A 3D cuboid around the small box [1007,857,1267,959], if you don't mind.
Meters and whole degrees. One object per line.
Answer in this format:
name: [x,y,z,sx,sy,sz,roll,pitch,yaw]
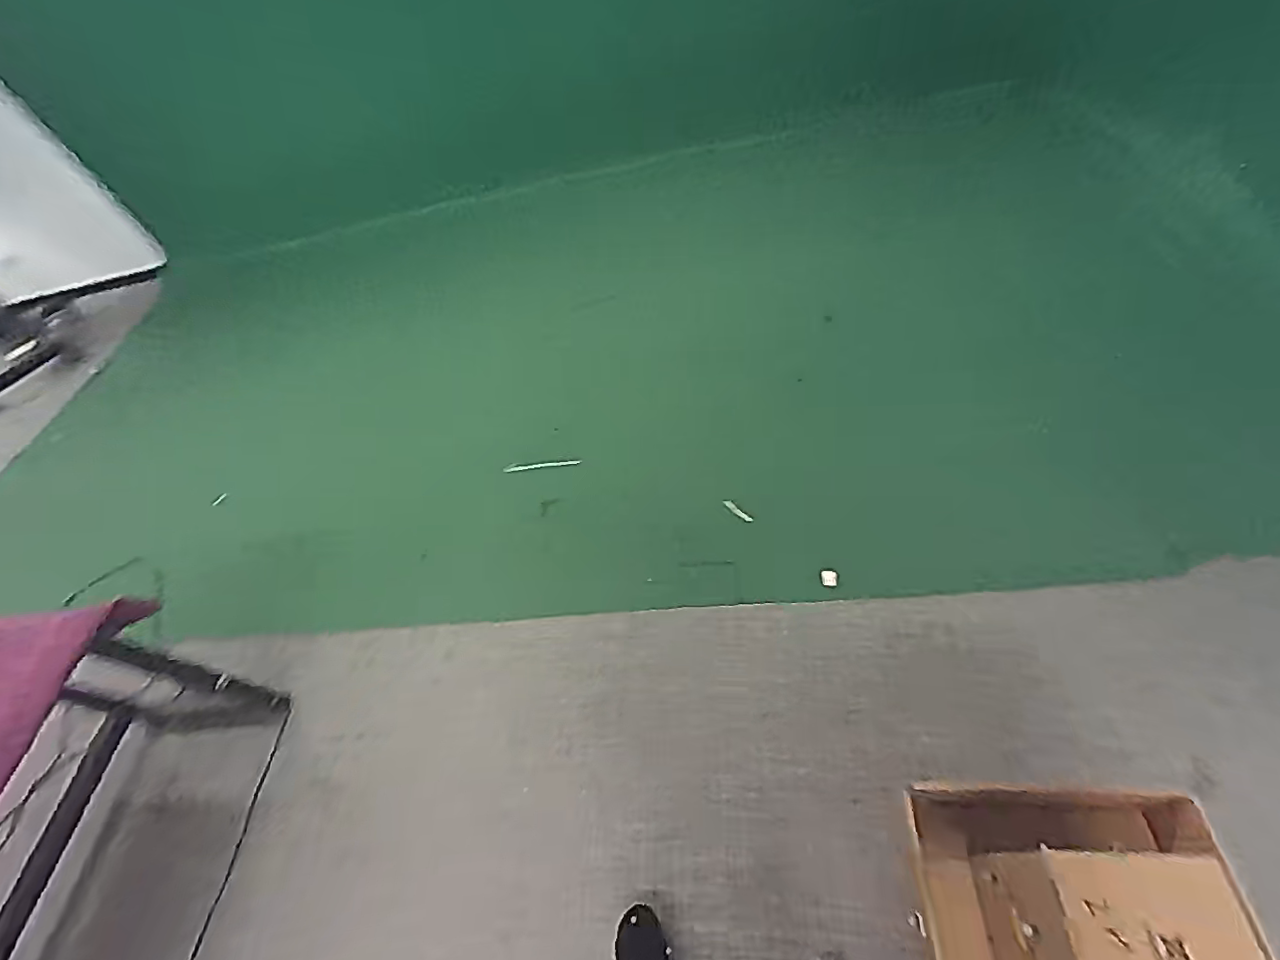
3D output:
small box: [0.572,0.545,0.630,0.179,0.176,0.168,-5,53,12]
